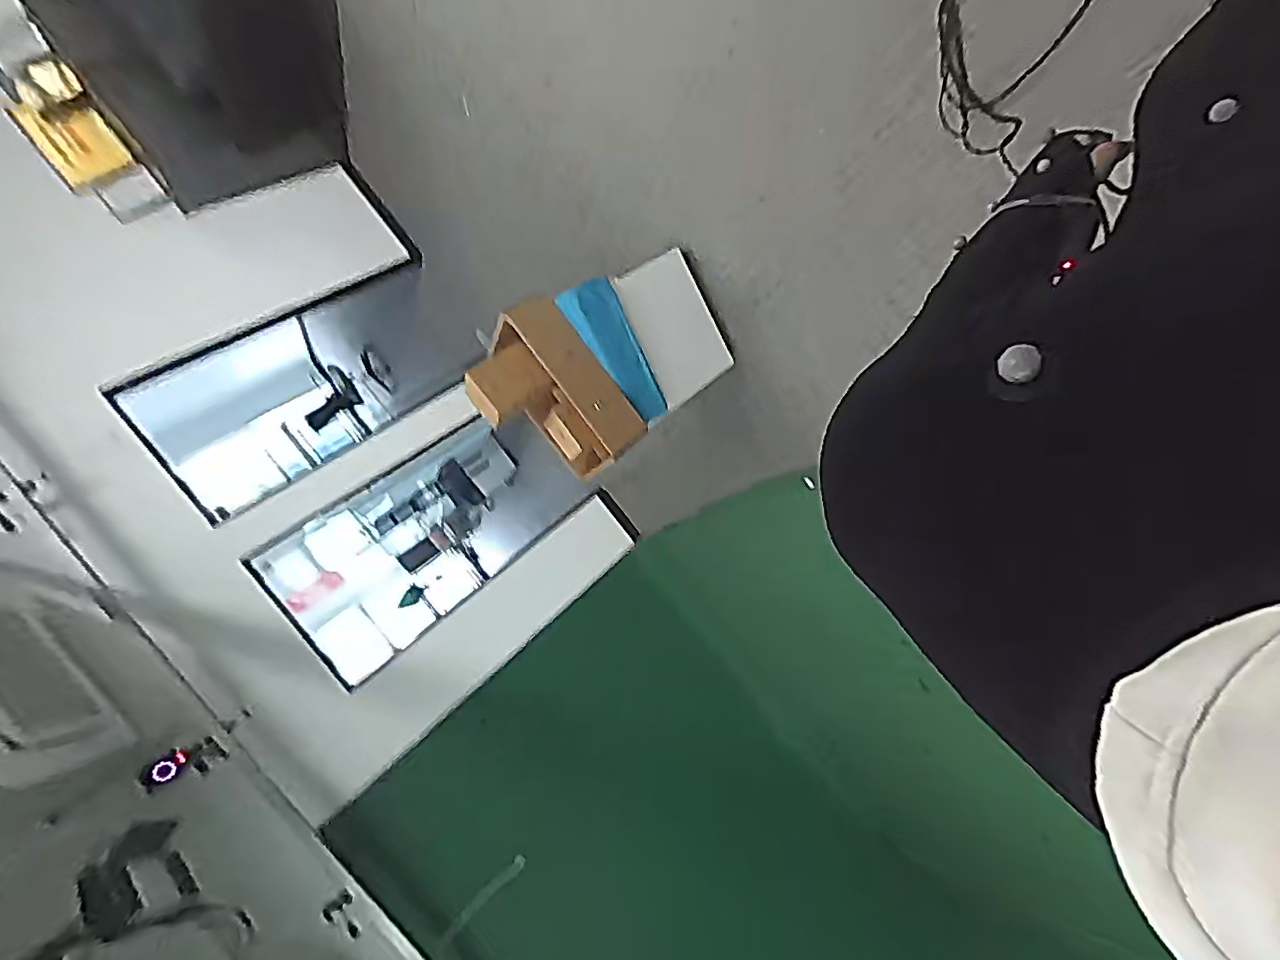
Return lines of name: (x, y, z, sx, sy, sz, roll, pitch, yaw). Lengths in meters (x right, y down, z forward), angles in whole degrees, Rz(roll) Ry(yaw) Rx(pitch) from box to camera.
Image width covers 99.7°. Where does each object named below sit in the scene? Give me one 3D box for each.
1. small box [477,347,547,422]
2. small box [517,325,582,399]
small box: (-0.455, -0.340, 1.922, 0.179, 0.176, 0.168, 51, 155, 0)
small box: (-0.340, -0.435, 1.988, 0.179, 0.176, 0.168, 51, 156, -2)
